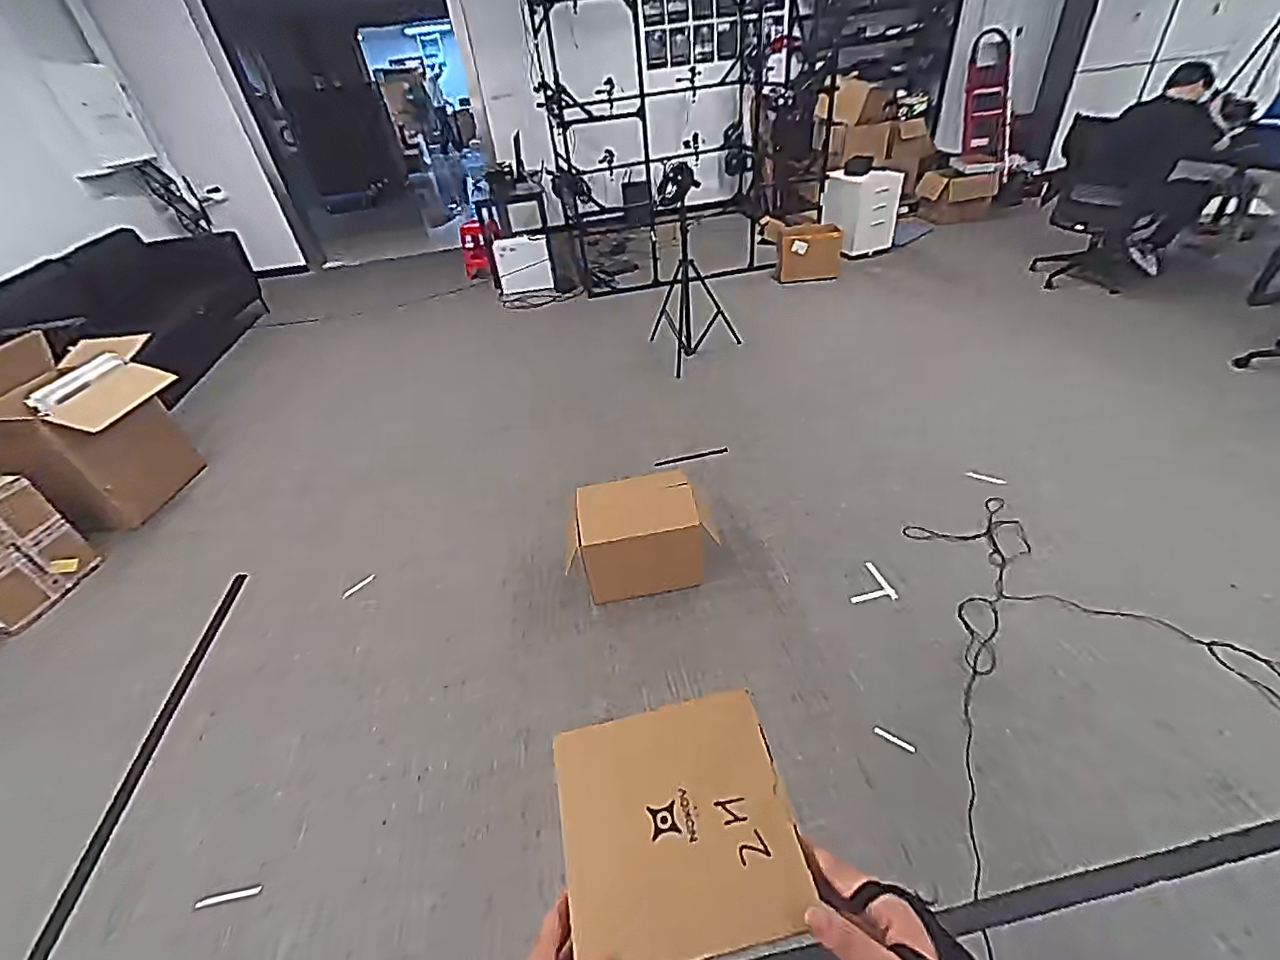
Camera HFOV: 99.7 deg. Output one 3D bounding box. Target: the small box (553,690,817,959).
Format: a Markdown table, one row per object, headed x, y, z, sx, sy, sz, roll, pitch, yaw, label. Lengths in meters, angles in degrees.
| x | y | z | sx | sy | sz | roll | pitch | yaw | label |
| --- | --- | --- | --- | --- | --- | --- | --- | --- | --- |
| 0.032 | 0.314 | 0.478 | 0.179 | 0.176 | 0.168 | -12 | 49 | -5 | small box |
